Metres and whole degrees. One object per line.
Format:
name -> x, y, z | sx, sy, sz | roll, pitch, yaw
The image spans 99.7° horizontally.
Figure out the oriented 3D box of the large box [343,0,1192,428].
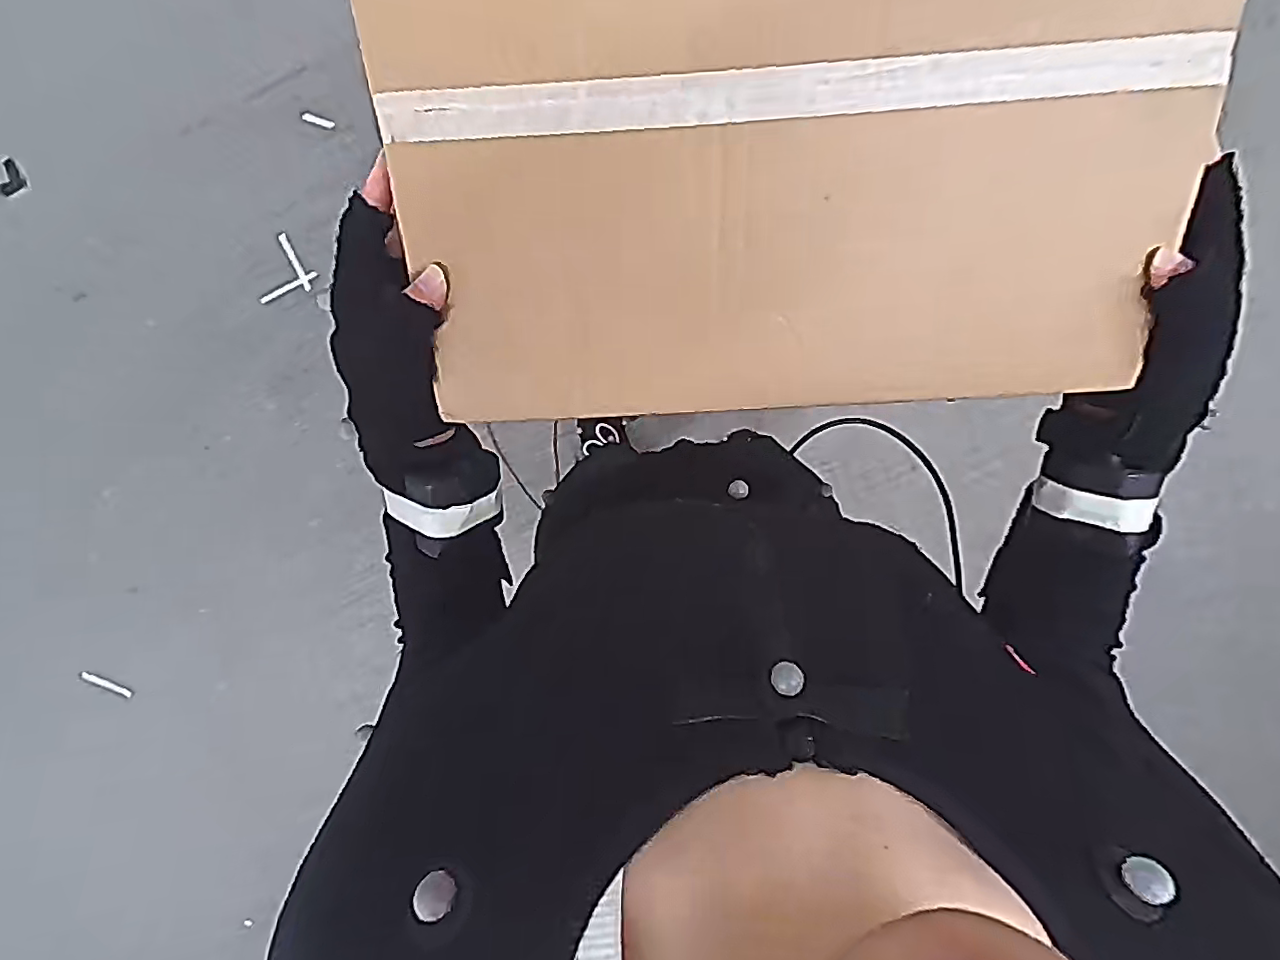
large box -> 0.063, -0.246, 0.407 | 0.408, 0.320, 0.320 | -4, 112, 2
